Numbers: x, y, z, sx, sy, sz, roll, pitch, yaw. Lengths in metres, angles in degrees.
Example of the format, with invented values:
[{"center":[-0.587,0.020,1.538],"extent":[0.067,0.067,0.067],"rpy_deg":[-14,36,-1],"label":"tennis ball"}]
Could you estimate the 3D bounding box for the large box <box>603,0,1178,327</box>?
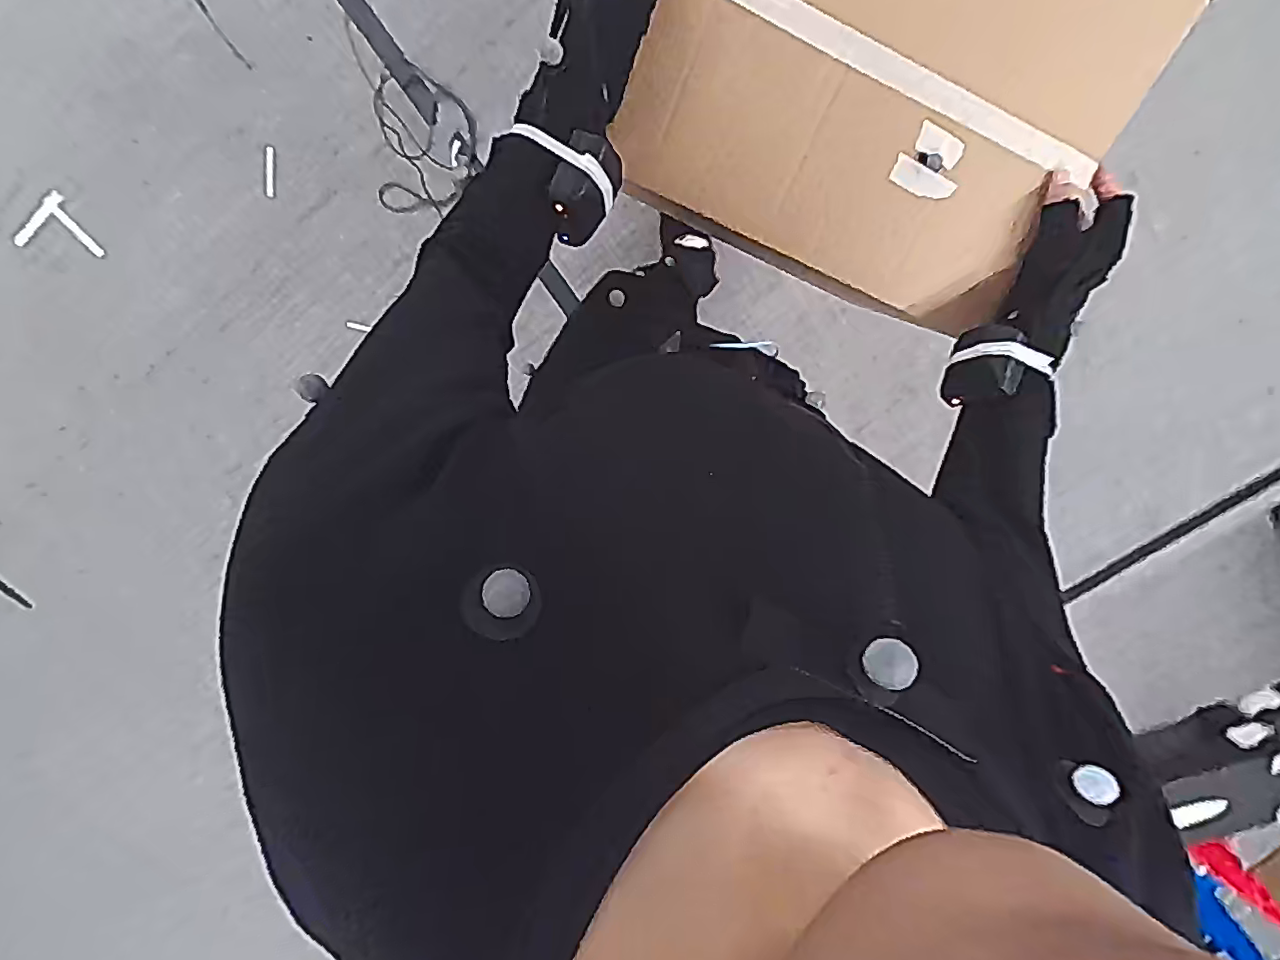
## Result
[{"center":[0.202,-0.410,0.593],"extent":[0.408,0.320,0.320],"rpy_deg":[21,114,-9],"label":"large box"}]
